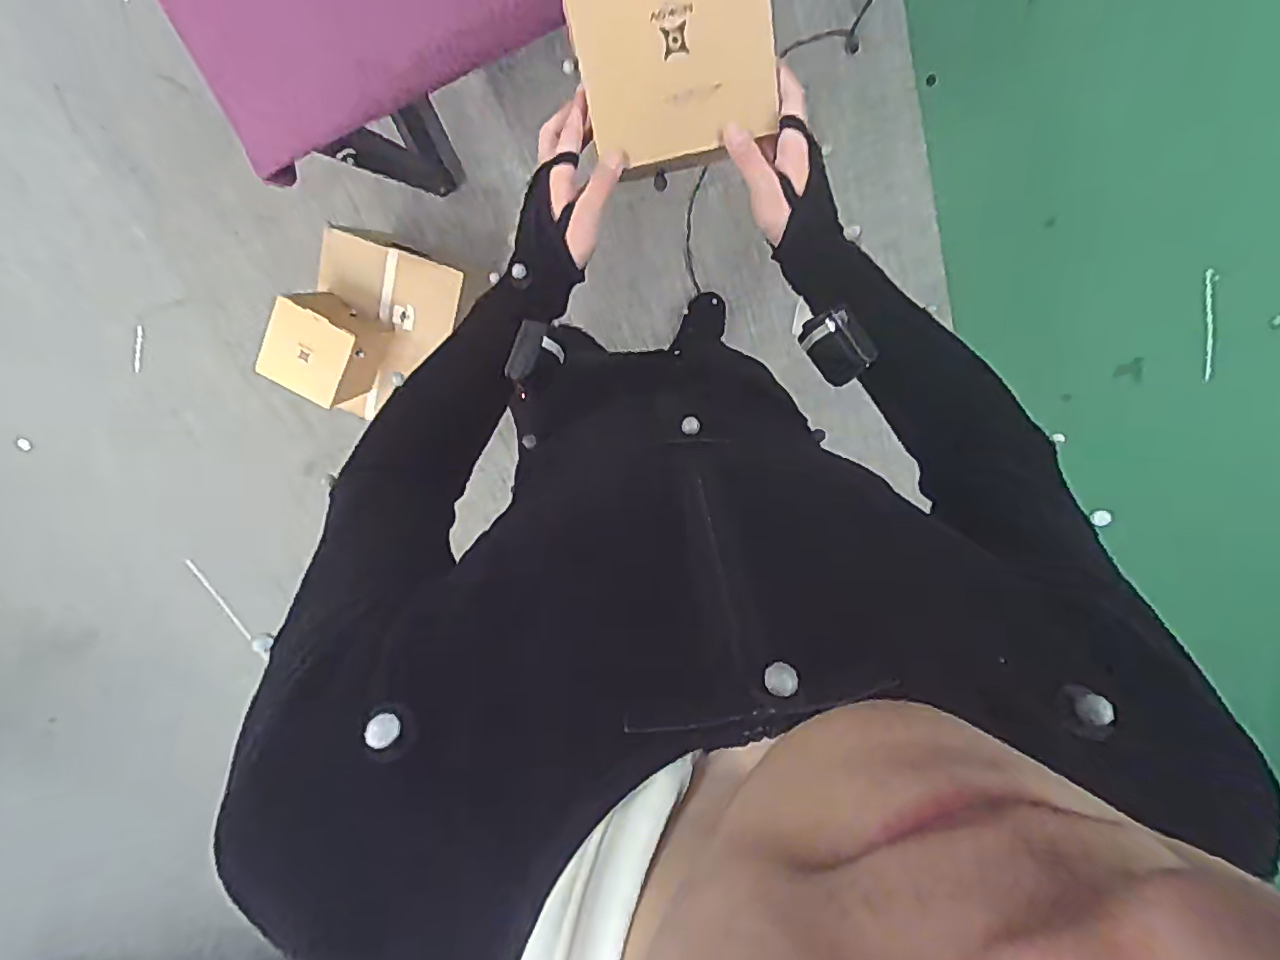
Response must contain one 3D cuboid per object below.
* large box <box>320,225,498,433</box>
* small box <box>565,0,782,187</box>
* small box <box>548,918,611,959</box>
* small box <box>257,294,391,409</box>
[{"bbox_3d":[-0.589,-0.383,1.387,0.320,0.320,0.408,17,110,-6],"label":"large box"},{"bbox_3d":[0.024,-0.396,0.511,0.168,0.176,0.179,-12,115,3],"label":"small box"},{"bbox_3d":[-0.194,1.513,1.671,0.168,0.176,0.179,19,108,-6],"label":"small box"},{"bbox_3d":[-0.671,-0.282,1.167,0.168,0.176,0.179,29,109,-7],"label":"small box"}]
